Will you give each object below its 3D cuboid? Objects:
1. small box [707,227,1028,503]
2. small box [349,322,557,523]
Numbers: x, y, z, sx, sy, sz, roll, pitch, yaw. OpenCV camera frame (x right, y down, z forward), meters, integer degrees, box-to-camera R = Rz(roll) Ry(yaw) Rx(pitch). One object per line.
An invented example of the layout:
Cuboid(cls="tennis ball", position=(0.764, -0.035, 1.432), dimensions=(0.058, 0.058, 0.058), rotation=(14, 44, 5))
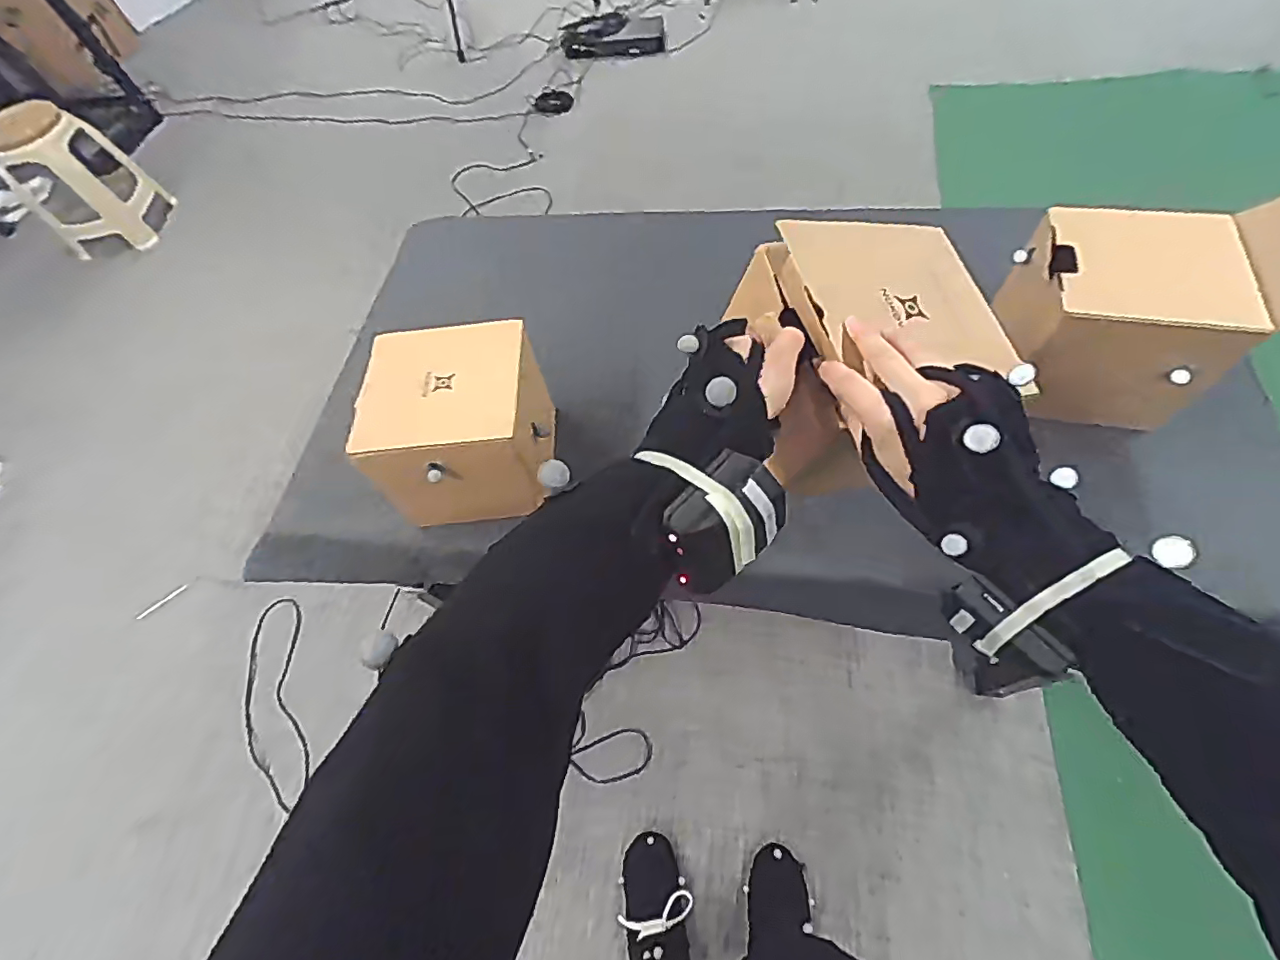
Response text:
Cuboid(cls="small box", position=(0.171, -0.091, 0.475), dimensions=(0.179, 0.176, 0.168), rotation=(-11, 71, -16))
Cuboid(cls="small box", position=(-0.202, -0.061, 0.645), dimensions=(0.179, 0.176, 0.168), rotation=(-6, 59, 4))
